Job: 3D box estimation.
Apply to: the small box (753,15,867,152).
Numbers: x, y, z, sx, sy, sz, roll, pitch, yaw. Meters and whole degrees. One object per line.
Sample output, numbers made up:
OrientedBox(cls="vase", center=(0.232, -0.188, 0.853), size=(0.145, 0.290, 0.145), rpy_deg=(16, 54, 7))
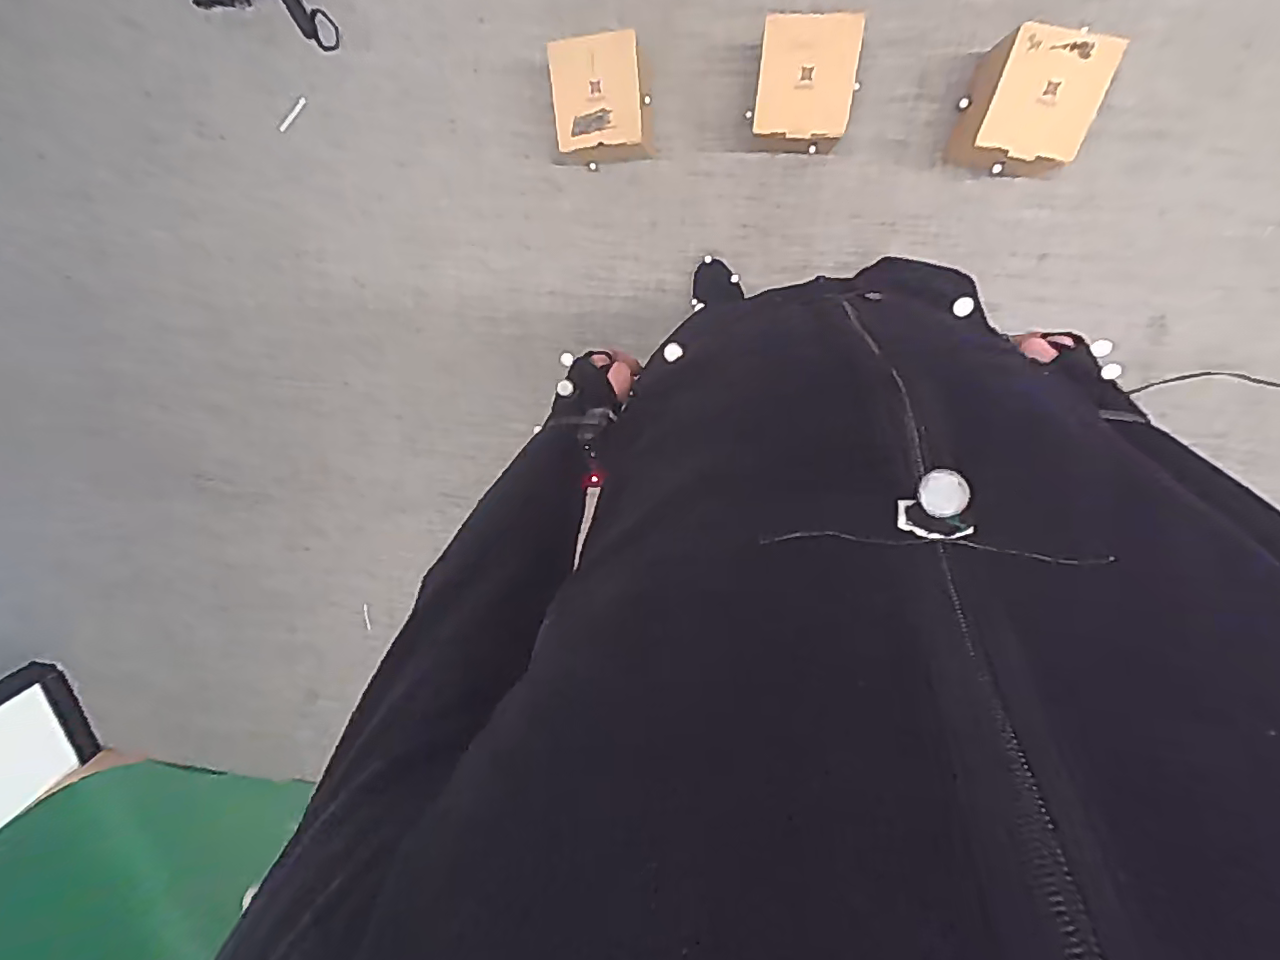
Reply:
OrientedBox(cls="small box", center=(0.304, -0.722, 1.005), size=(0.168, 0.176, 0.179), rpy_deg=(6, 112, 7))

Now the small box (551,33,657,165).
OrientedBox(cls="small box", center=(-0.062, -0.735, 1.066), size=(0.168, 0.176, 0.179), rpy_deg=(-1, 111, 11))

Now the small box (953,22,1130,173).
OrientedBox(cls="small box", center=(0.686, -0.660, 0.955), size=(0.168, 0.176, 0.179), rpy_deg=(15, 115, 5))
